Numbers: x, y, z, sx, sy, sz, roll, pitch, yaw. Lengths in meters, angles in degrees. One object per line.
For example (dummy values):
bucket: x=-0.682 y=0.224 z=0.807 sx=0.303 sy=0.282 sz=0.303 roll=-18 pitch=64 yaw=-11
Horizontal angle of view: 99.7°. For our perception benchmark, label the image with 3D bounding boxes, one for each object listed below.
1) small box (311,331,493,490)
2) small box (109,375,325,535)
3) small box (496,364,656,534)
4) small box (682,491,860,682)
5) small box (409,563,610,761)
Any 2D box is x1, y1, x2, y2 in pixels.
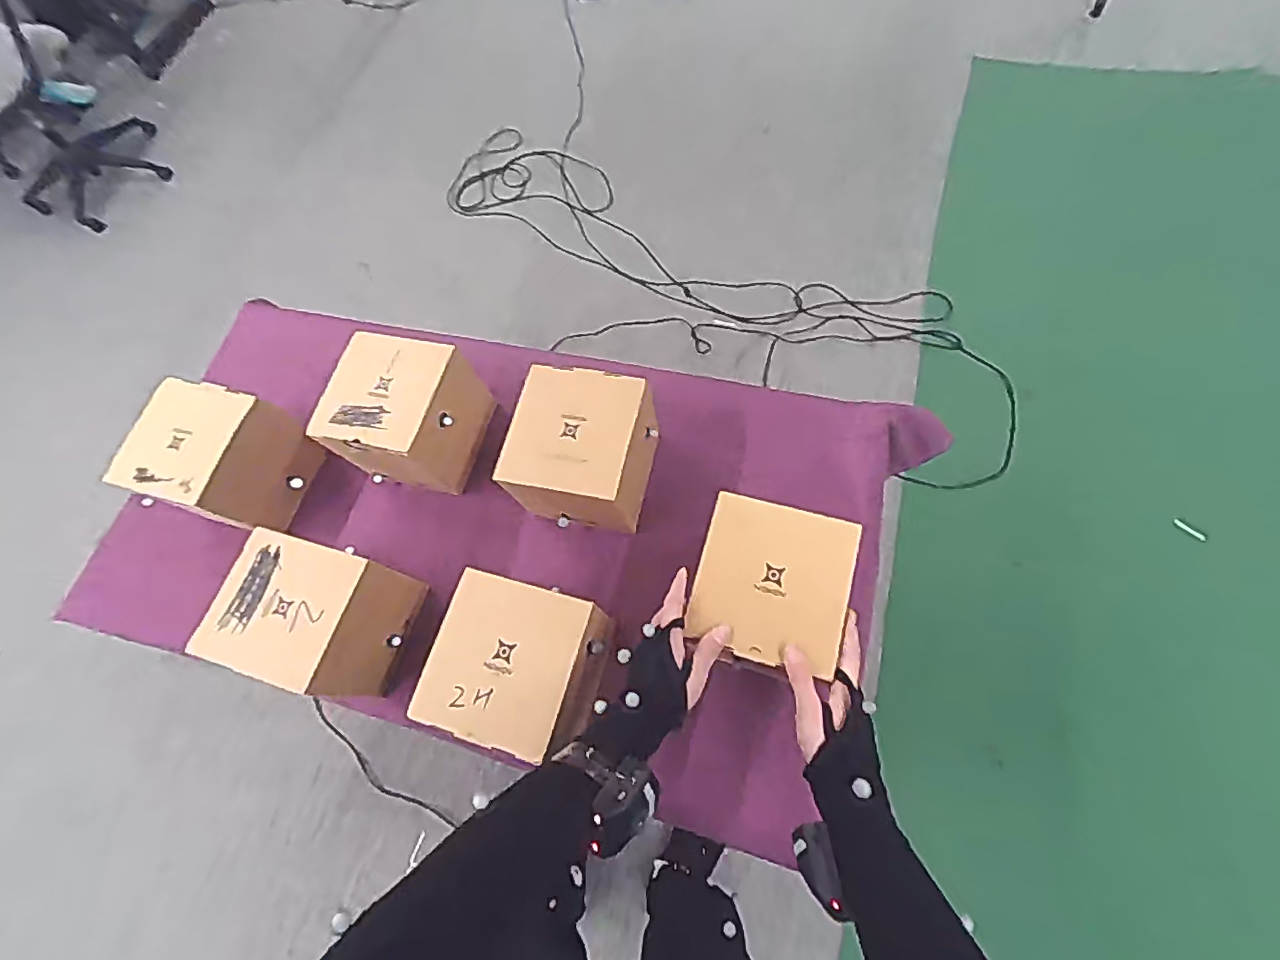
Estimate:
small box: x=-0.350 y=-0.100 z=0.835 sx=0.168 sy=0.176 sz=0.179 roll=12 pitch=70 yaw=12
small box: x=-0.638 y=-0.034 z=0.845 sx=0.168 sy=0.176 sz=0.179 roll=12 pitch=70 yaw=14
small box: x=-0.077 y=-0.039 z=0.777 sx=0.168 sy=0.176 sz=0.179 roll=10 pitch=71 yaw=12
small box: x=0.156 y=0.139 z=0.674 sx=0.168 sy=0.176 sz=0.179 roll=14 pitch=72 yaw=13
small box: x=-0.144 y=0.226 z=0.676 sx=0.168 sy=0.176 sz=0.179 roll=13 pitch=70 yaw=13
